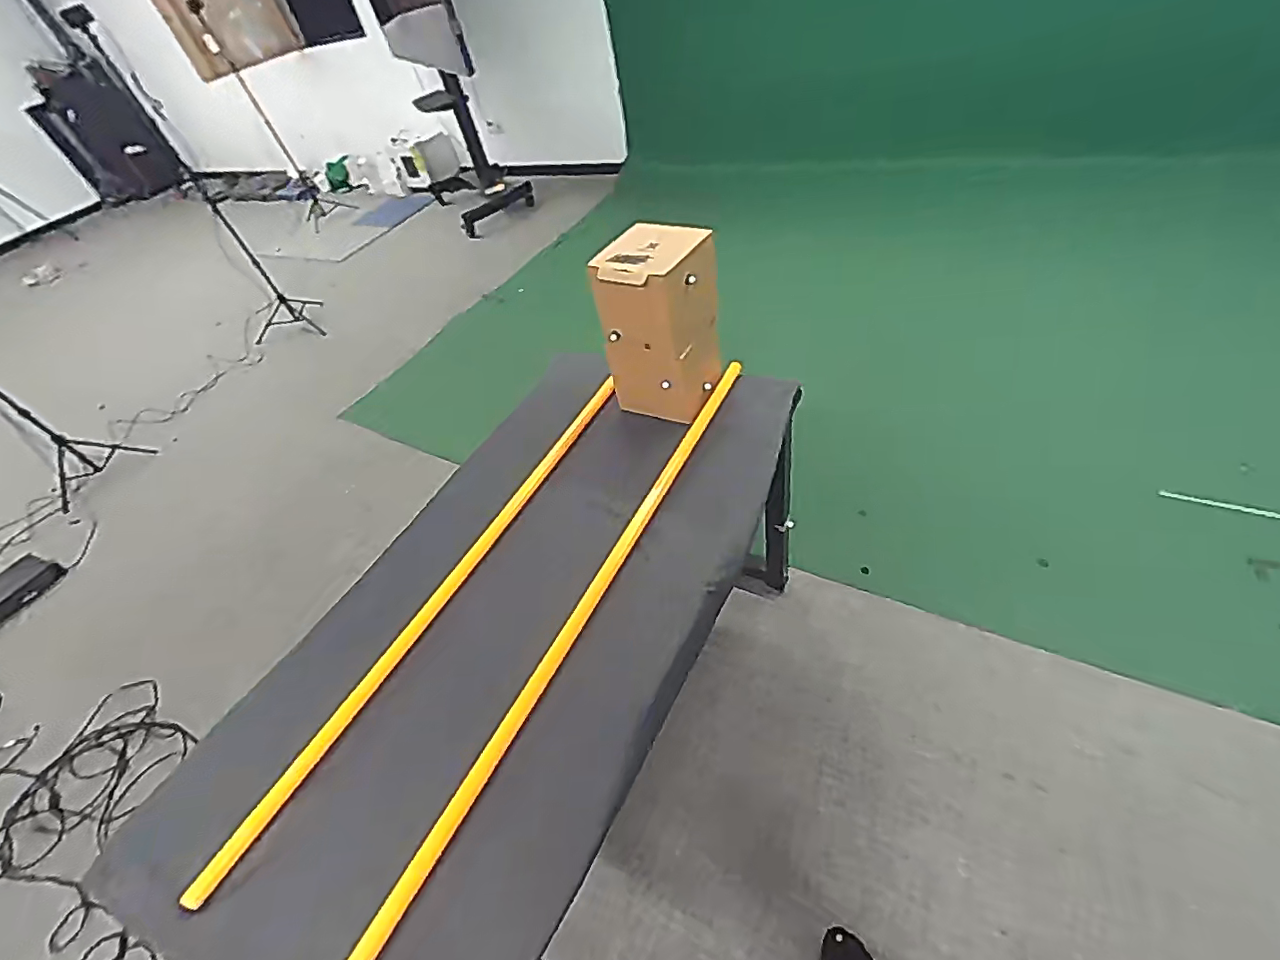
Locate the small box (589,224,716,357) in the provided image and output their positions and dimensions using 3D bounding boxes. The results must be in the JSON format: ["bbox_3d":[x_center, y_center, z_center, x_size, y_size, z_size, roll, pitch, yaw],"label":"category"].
[{"bbox_3d":[0.035,-0.356,1.019,0.168,0.176,0.179,21,55,28],"label":"small box"}]
